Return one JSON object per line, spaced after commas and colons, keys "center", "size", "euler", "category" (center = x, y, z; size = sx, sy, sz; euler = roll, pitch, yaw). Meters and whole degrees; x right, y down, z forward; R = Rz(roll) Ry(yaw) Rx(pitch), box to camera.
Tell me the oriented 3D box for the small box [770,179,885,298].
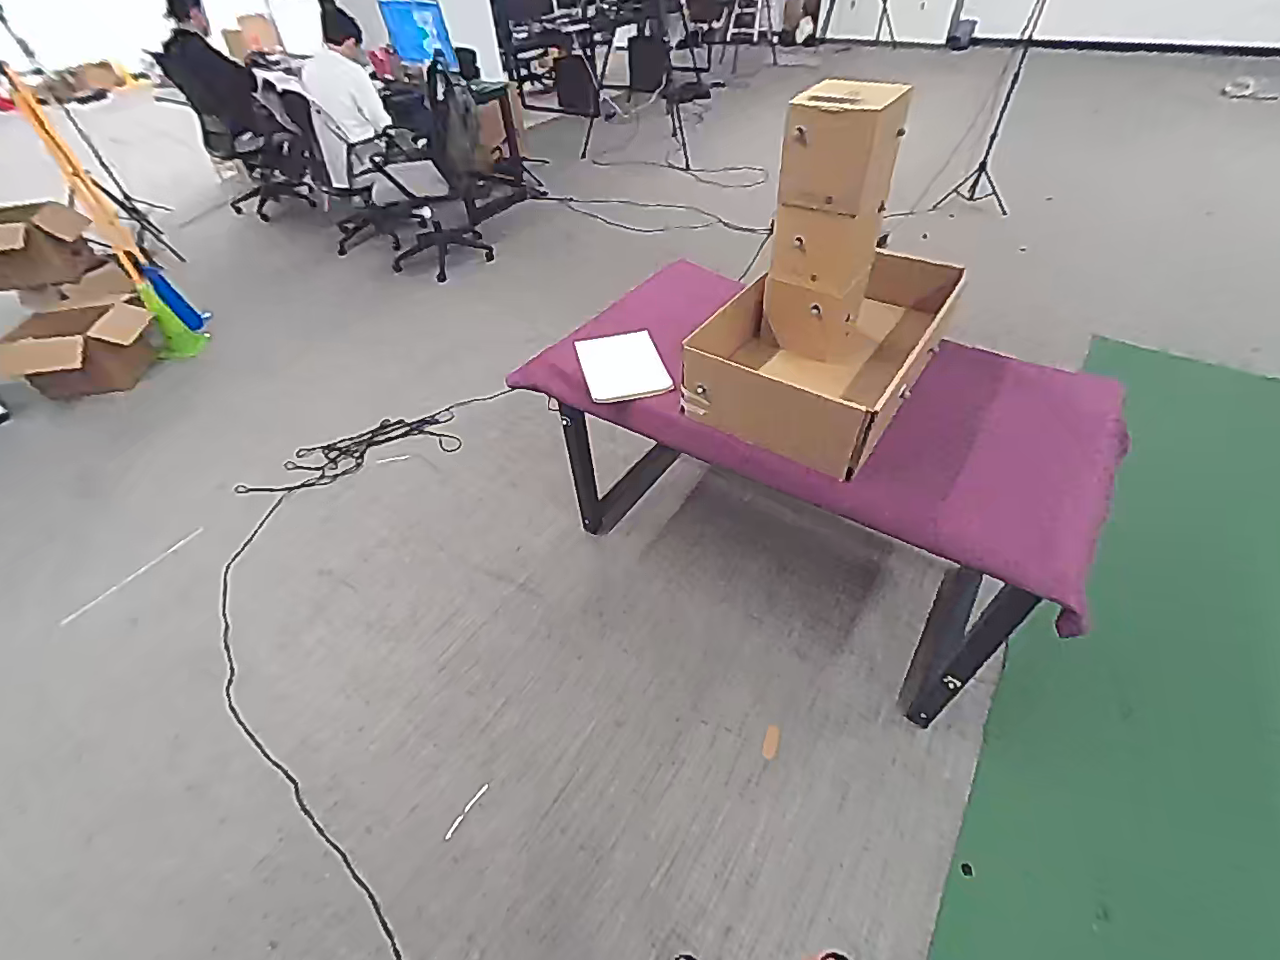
{"center": [0.390, -0.512, 1.149], "size": [0.168, 0.176, 0.179], "euler": [27, 55, 28], "category": "small box"}
